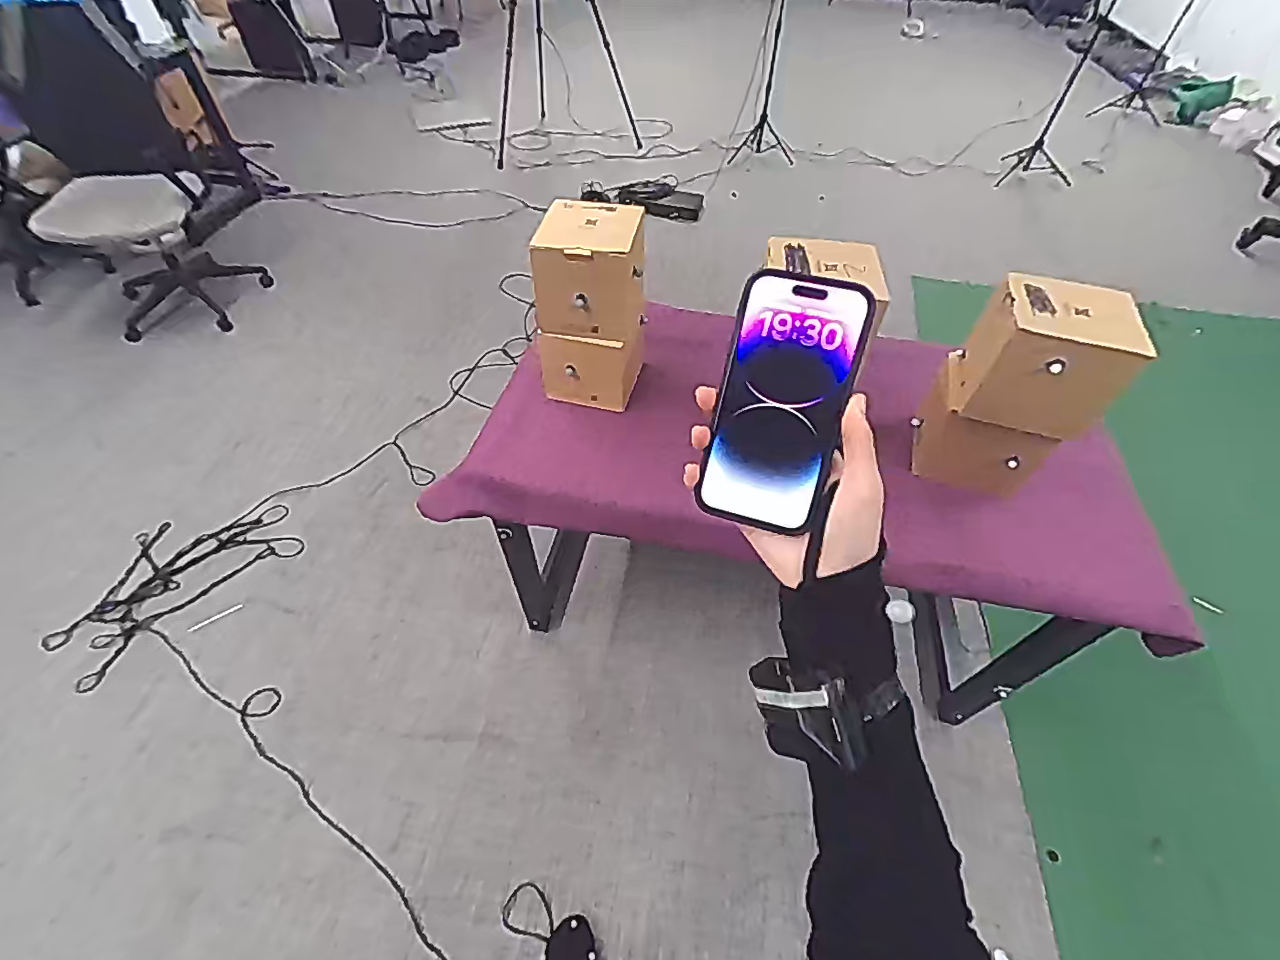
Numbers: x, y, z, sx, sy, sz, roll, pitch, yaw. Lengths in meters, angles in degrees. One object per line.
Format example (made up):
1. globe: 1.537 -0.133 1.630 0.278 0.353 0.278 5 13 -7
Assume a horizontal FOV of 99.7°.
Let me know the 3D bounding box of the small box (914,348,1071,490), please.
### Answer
1. small box: 0.616 -0.104 0.963 0.179 0.176 0.168 15 51 13

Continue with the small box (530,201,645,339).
1. small box: -0.084 -0.375 0.973 0.168 0.176 0.179 7 51 5

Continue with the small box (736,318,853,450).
1. small box: 0.289 -0.177 1.022 0.179 0.176 0.168 10 51 9

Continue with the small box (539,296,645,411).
1. small box: -0.086 -0.263 1.094 0.168 0.176 0.179 11 51 9

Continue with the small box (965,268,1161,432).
1. small box: 0.621 -0.196 0.827 0.179 0.176 0.168 16 51 12
